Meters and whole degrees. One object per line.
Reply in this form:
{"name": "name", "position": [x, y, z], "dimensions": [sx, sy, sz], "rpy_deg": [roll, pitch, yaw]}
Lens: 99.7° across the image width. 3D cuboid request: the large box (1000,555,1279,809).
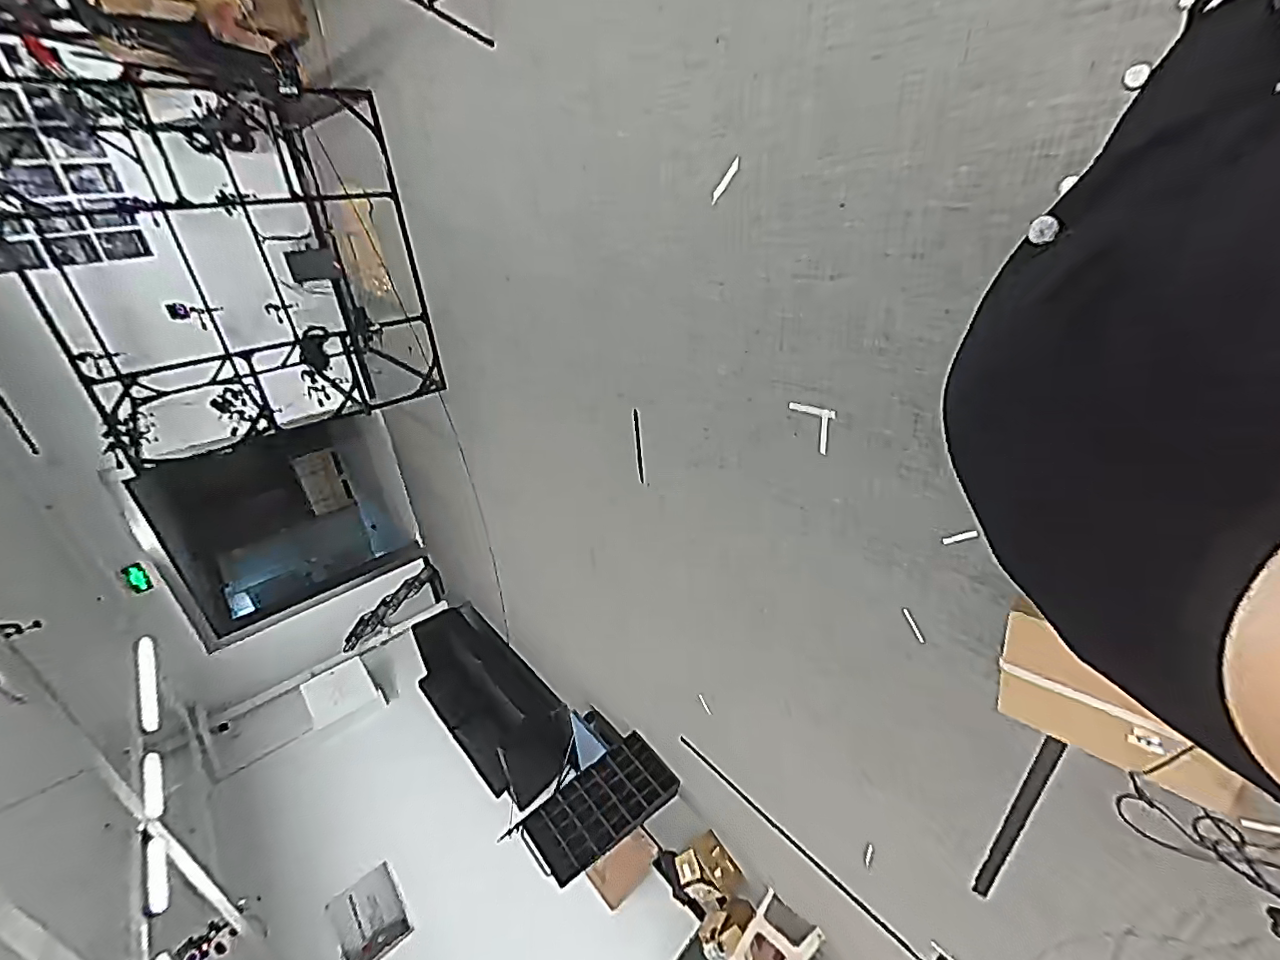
{"name": "large box", "position": [1.103, 0.411, 1.218], "dimensions": [0.408, 0.320, 0.320], "rpy_deg": [17, 124, 48]}
